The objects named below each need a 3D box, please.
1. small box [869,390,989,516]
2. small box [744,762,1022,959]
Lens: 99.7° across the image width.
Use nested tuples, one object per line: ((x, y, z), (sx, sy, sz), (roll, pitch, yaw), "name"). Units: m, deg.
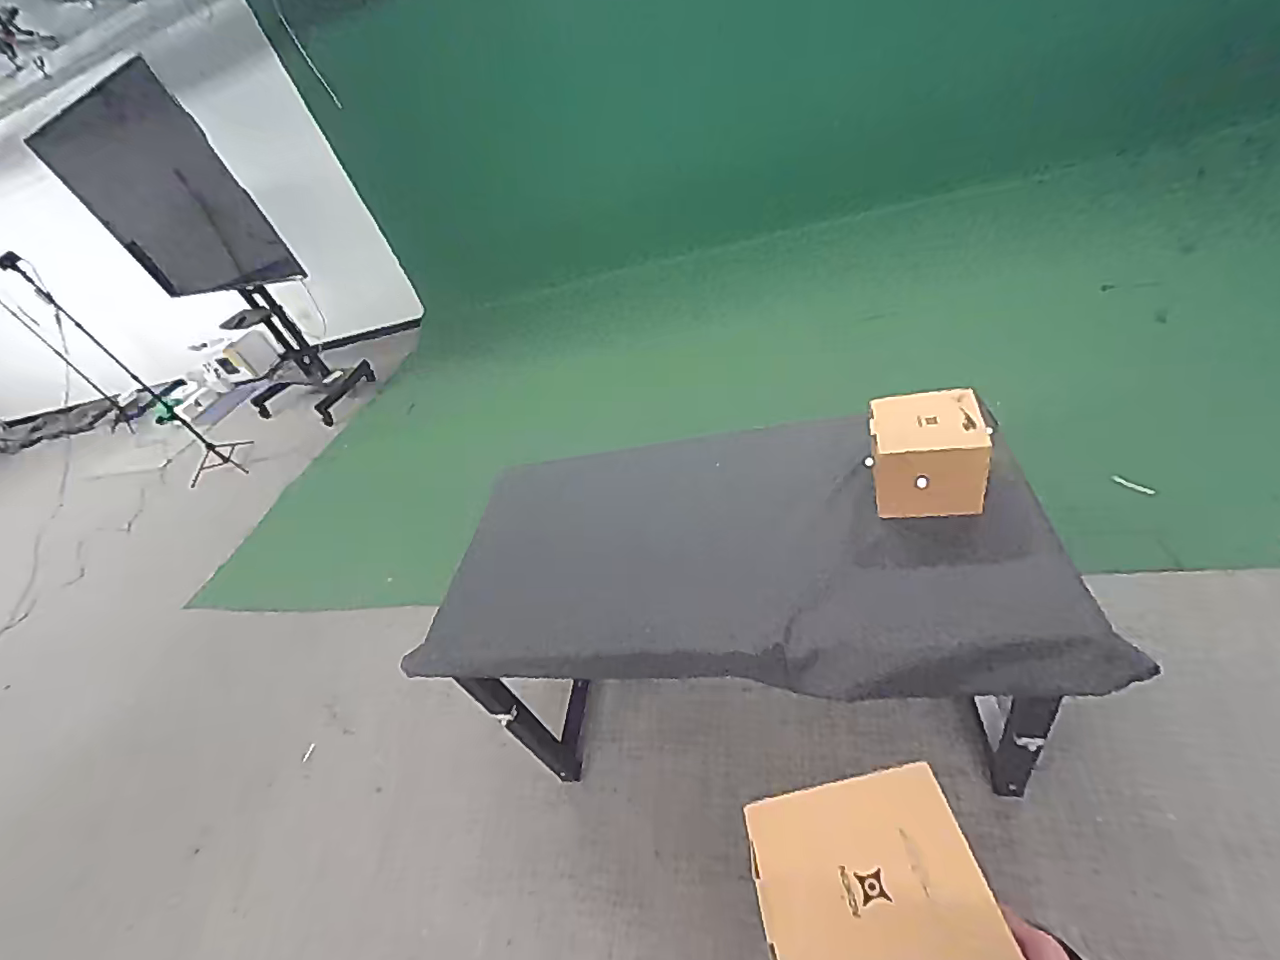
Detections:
((0.536, -0.045, 1.019), (0.179, 0.176, 0.168), (-5, 44, 22), "small box")
((0.211, 0.389, 0.482), (0.179, 0.176, 0.168), (-18, 35, 9), "small box")
